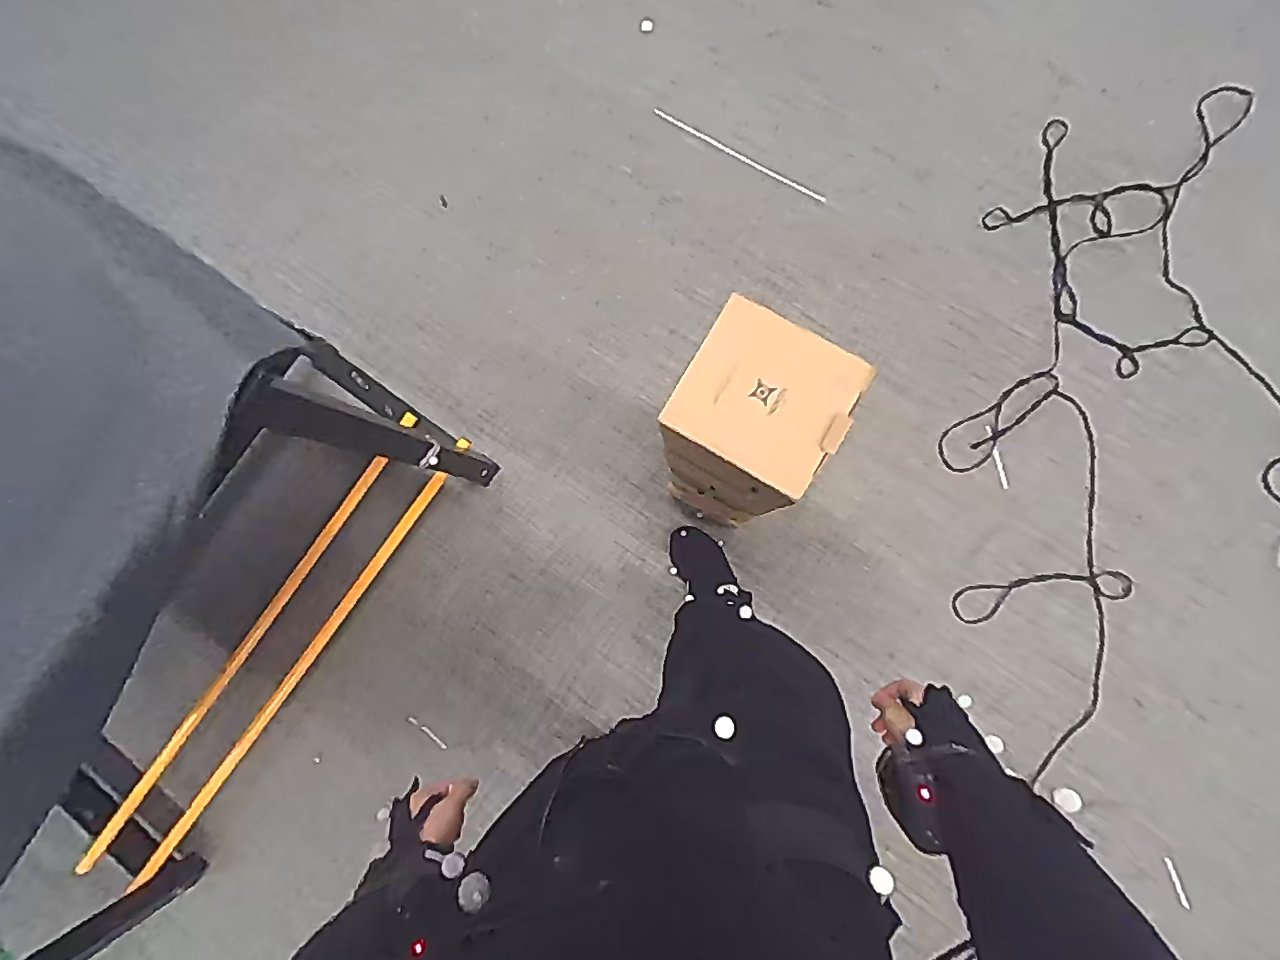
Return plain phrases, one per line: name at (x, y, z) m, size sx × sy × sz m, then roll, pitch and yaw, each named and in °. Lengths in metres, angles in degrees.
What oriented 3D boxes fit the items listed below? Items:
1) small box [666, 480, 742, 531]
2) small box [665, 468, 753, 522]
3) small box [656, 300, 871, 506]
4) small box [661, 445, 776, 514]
small box at (0.167, -0.007, 1.141) m, size 0.168 × 0.176 × 0.179 m, roll 29°, pitch 86°, yaw 8°
small box at (0.161, -0.036, 0.980) m, size 0.168 × 0.176 × 0.179 m, roll 30°, pitch 86°, yaw 7°
small box at (0.138, -0.079, 0.657) m, size 0.179 × 0.176 × 0.168 m, roll 30°, pitch 86°, yaw 8°
small box at (0.148, -0.059, 0.817) m, size 0.179 × 0.176 × 0.168 m, roll 30°, pitch 86°, yaw 7°
